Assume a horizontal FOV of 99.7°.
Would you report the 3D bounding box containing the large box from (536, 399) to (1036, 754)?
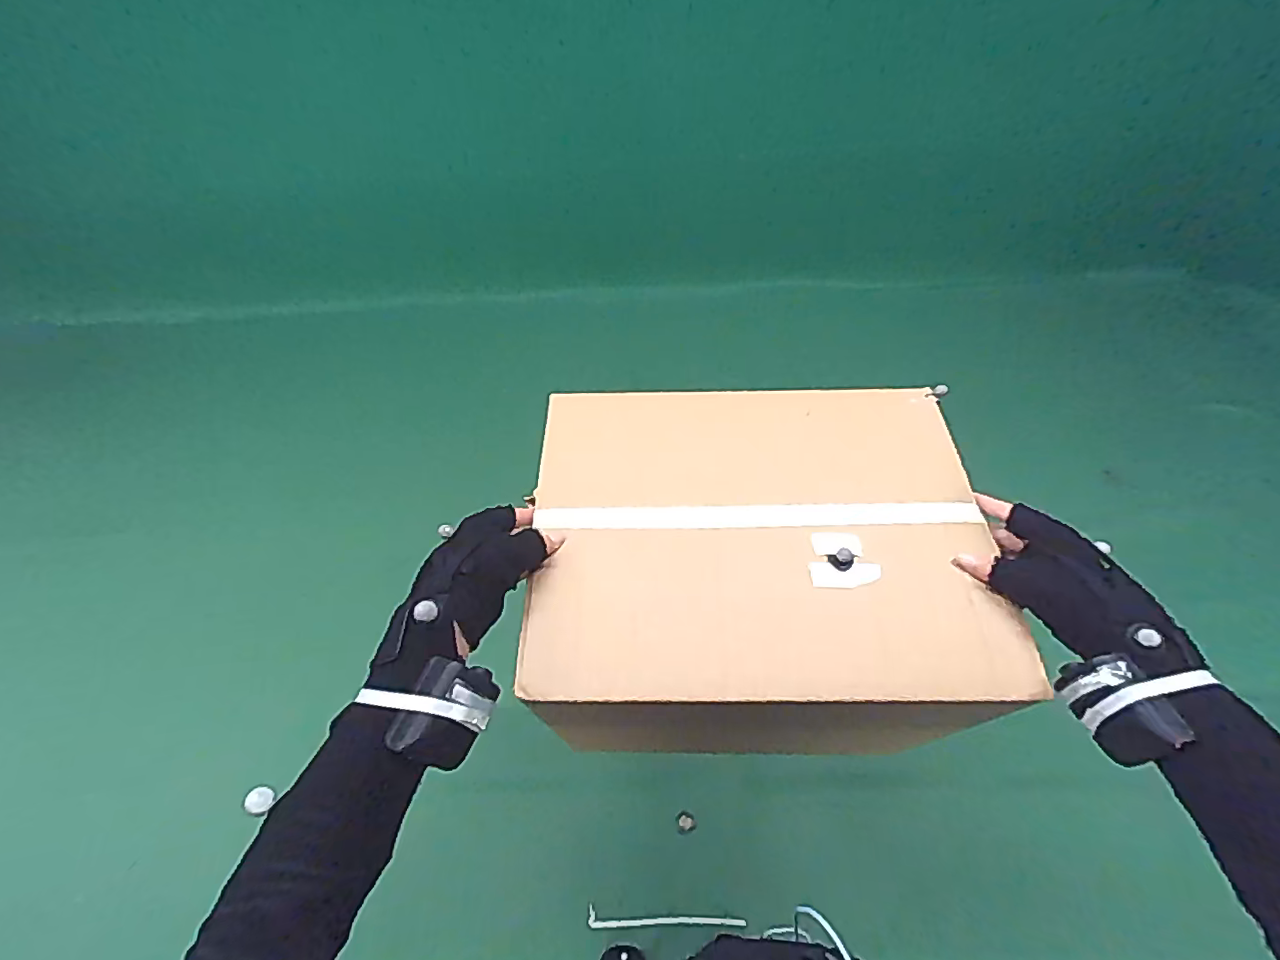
[{"bbox_3d":[0.114,0.124,0.629,0.408,0.320,0.320,0,57,1],"label":"large box"}]
